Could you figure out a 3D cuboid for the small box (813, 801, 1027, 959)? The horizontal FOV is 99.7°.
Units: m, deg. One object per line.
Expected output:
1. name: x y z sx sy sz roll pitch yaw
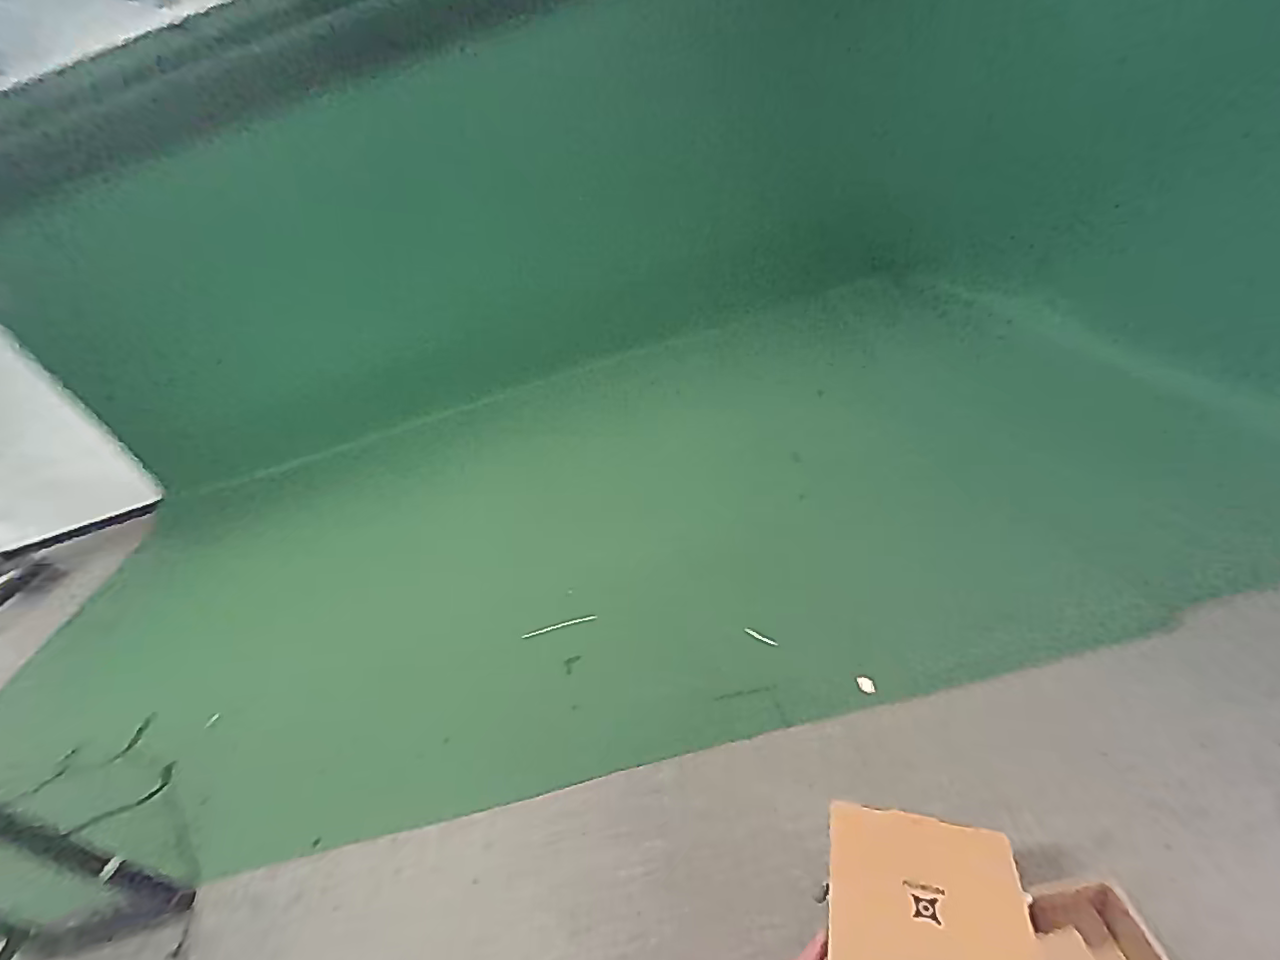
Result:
1. small box: 0.256 0.454 0.511 0.168 0.176 0.179 0 23 21
